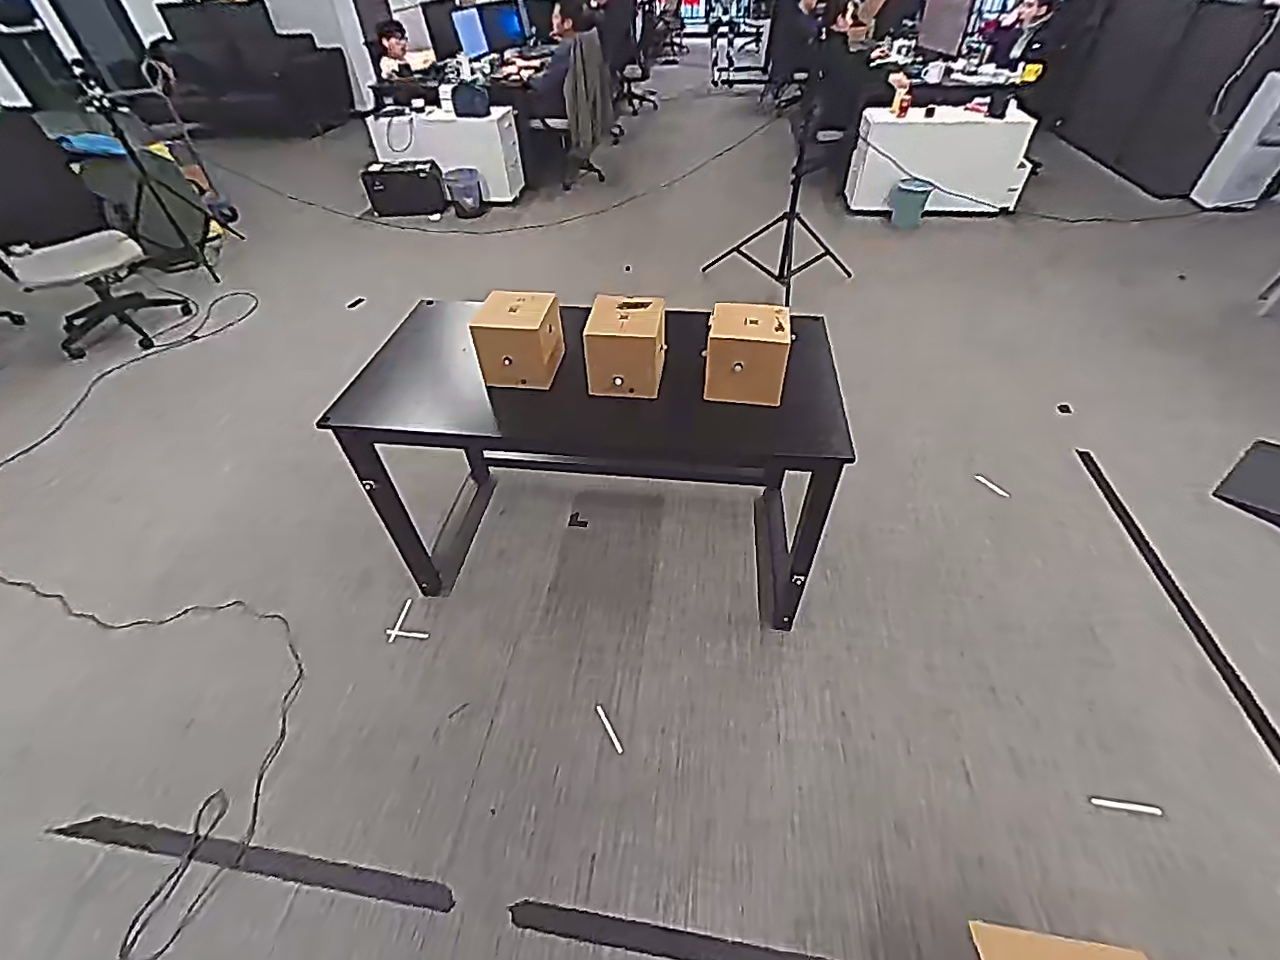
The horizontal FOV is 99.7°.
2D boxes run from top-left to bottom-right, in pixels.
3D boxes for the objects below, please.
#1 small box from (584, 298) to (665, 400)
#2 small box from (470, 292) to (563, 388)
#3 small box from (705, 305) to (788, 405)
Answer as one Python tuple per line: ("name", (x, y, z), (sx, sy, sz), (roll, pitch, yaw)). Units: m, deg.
("small box", (-0.032, -0.315, 1.294), (0.168, 0.176, 0.179), (4, 46, 7))
("small box", (-0.294, -0.342, 1.330), (0.168, 0.176, 0.179), (5, 45, 6))
("small box", (0.246, -0.291, 1.261), (0.179, 0.176, 0.168), (6, 45, 9))
